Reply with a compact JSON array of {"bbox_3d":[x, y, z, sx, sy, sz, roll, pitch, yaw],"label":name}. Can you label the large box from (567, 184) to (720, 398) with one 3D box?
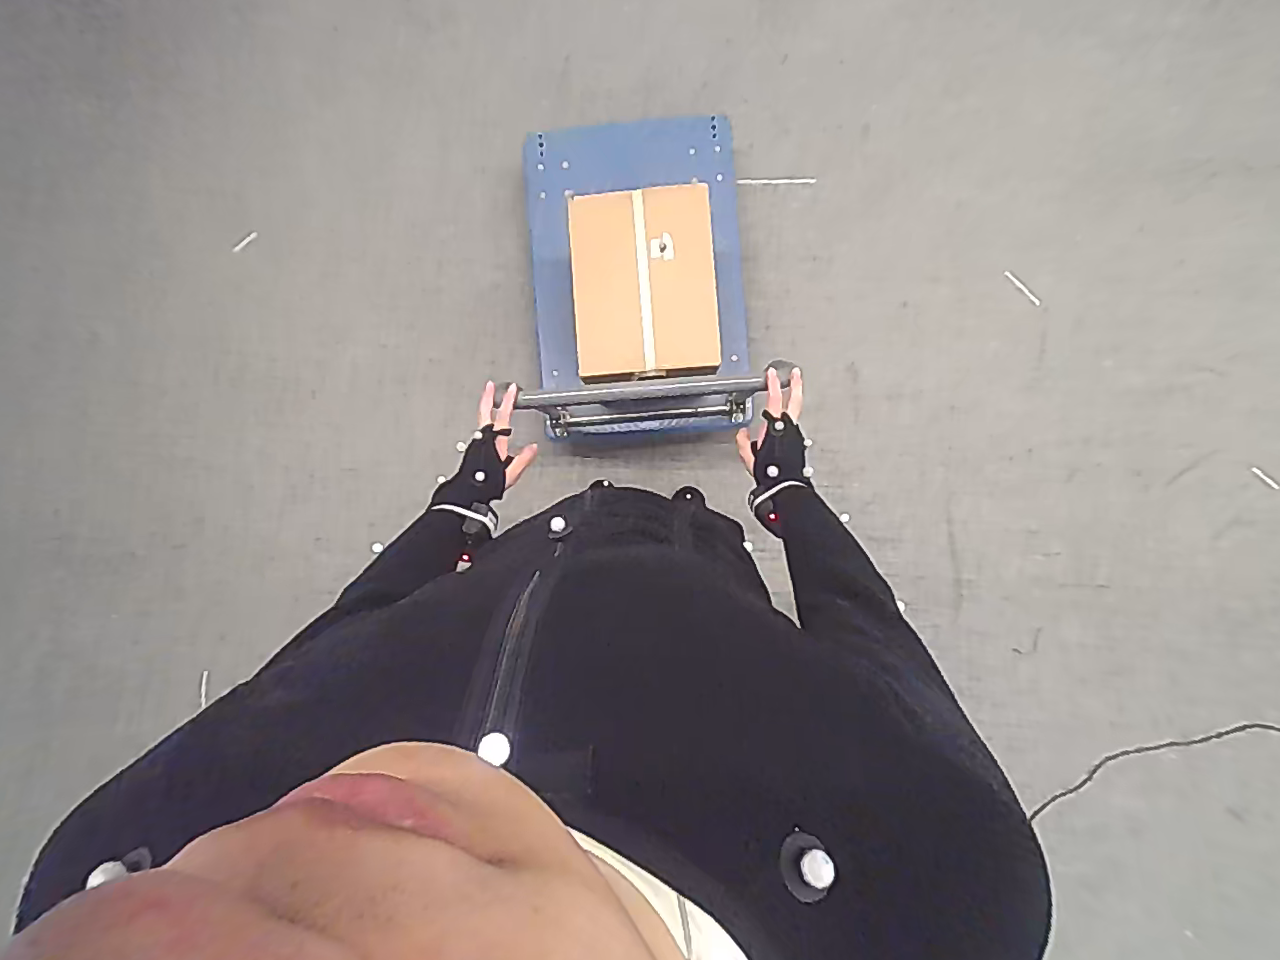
[{"bbox_3d":[0.015,-0.437,1.337,0.320,0.320,0.408,-4,88,2],"label":"large box"}]
